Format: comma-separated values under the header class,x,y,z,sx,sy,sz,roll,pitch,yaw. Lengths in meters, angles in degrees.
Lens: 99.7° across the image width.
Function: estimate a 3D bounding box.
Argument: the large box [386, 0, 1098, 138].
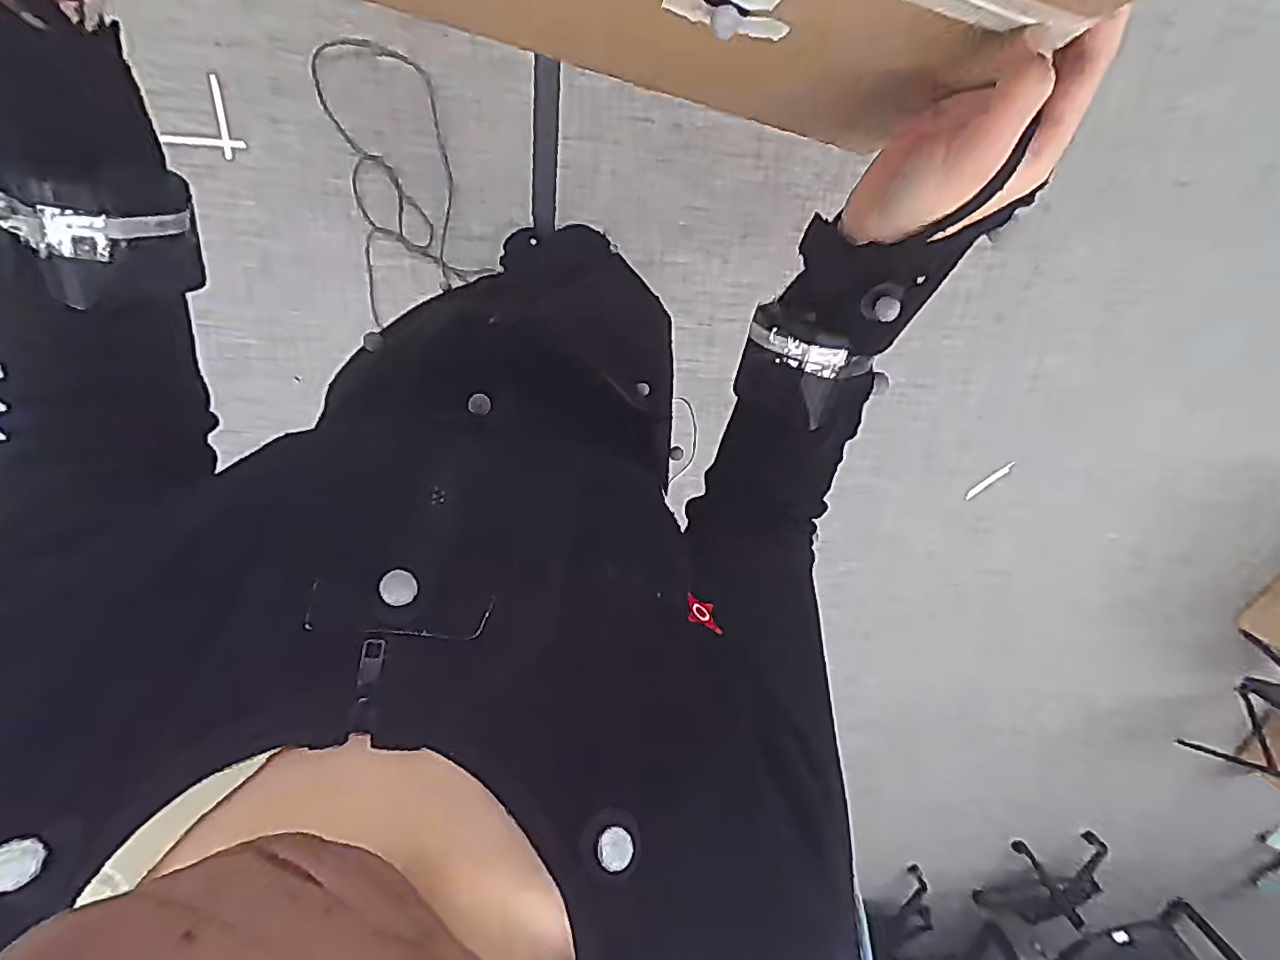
class,x,y,z,sx,sy,sz,roll,pitch,yaw
large box,0.008,-0.361,0.146,0.408,0.320,0.320,8,104,-12
